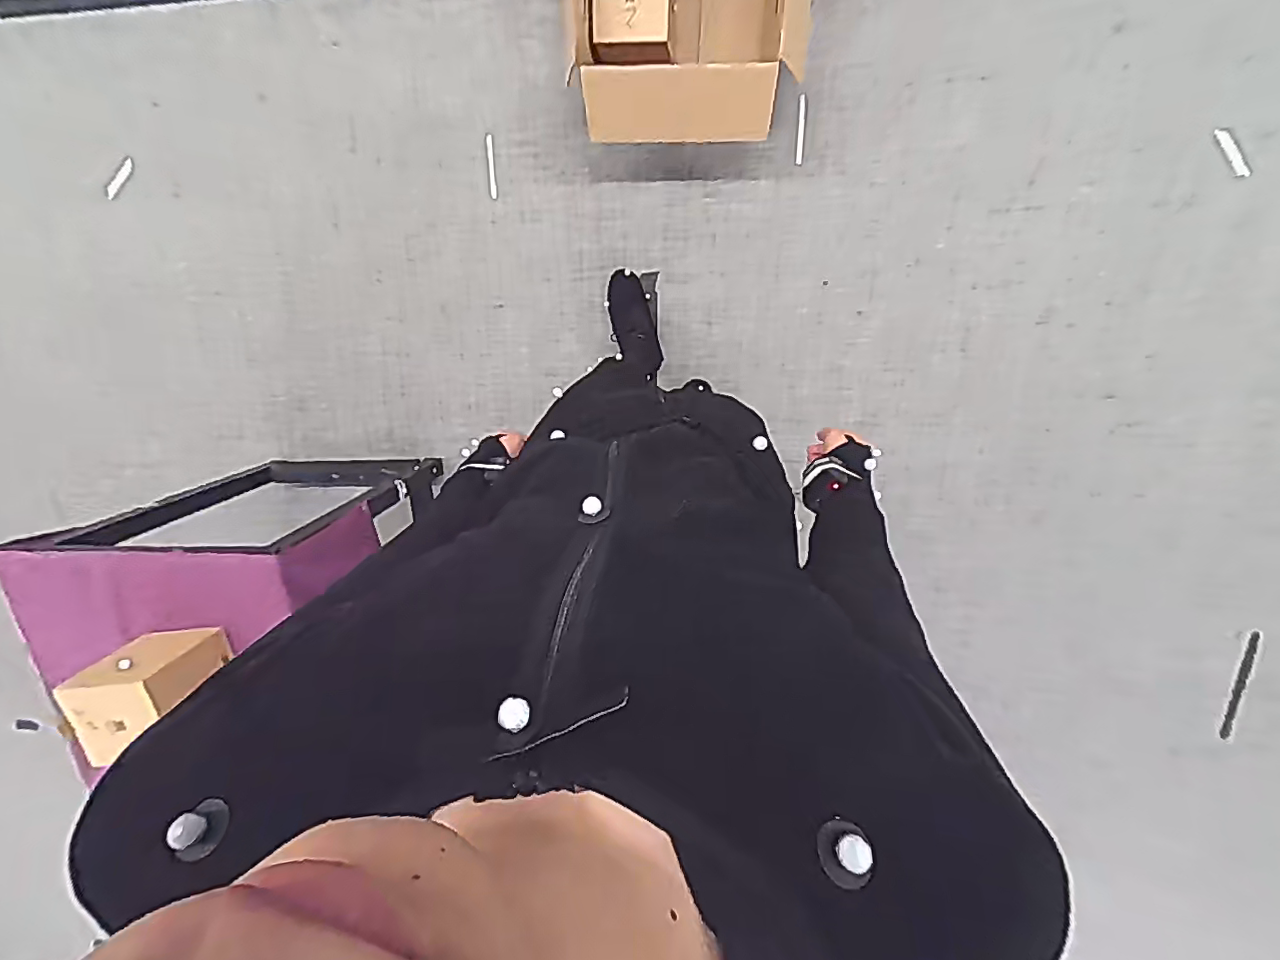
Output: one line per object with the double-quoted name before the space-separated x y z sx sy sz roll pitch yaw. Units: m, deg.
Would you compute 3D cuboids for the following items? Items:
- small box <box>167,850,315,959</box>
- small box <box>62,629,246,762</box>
"small box" -0.862 0.948 1.185 0.179 0.176 0.168 -4 107 6
"small box" -0.883 0.394 1.009 0.179 0.176 0.168 -6 107 8
